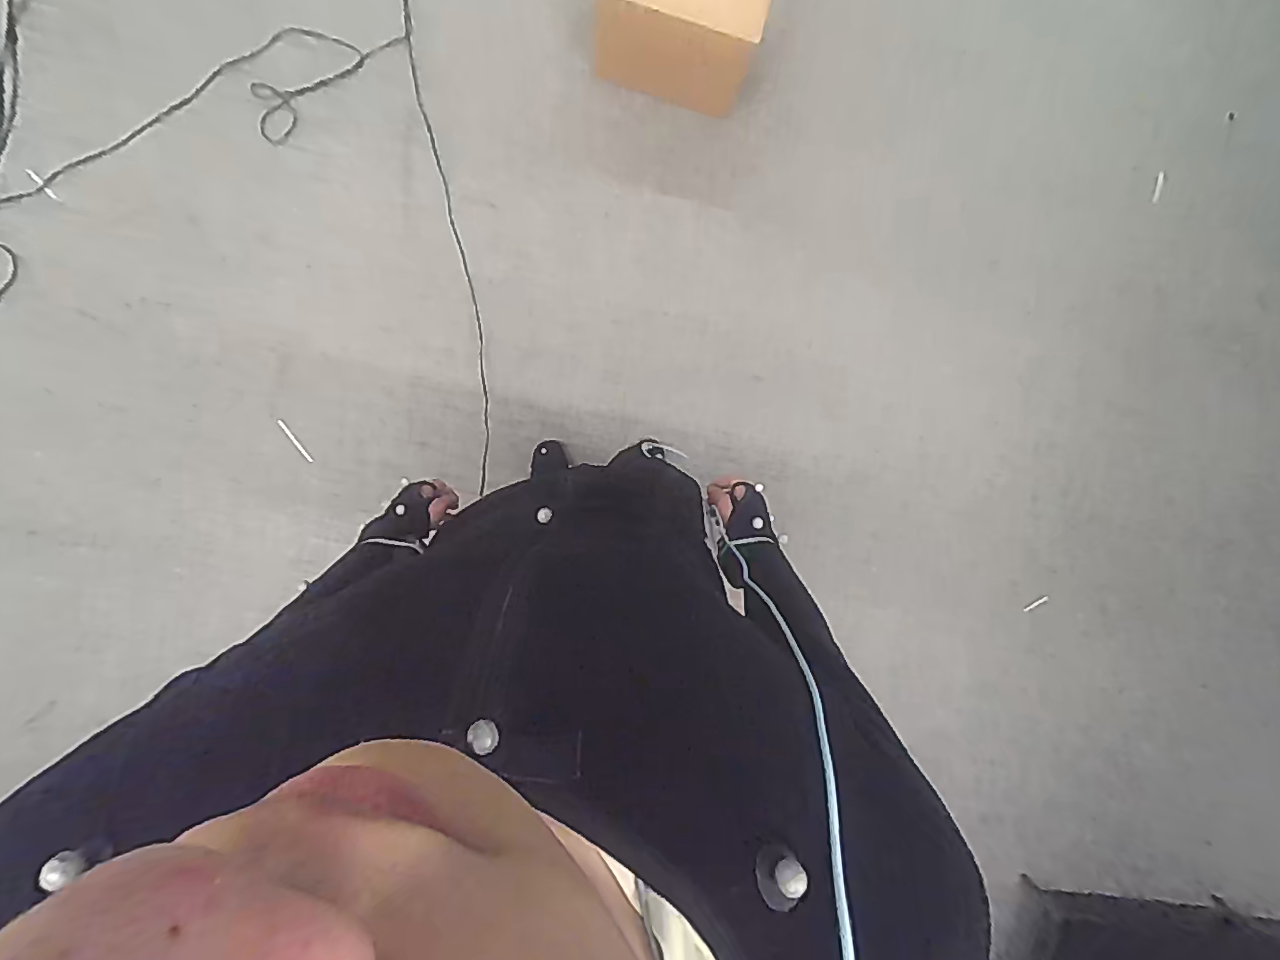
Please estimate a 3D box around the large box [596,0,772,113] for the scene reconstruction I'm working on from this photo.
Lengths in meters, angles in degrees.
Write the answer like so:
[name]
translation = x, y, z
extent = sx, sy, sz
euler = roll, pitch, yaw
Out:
[large box]
translation = 0.113, -1.244, 1.399
extent = 0.408, 0.320, 0.320
euler = 13, 94, -8
